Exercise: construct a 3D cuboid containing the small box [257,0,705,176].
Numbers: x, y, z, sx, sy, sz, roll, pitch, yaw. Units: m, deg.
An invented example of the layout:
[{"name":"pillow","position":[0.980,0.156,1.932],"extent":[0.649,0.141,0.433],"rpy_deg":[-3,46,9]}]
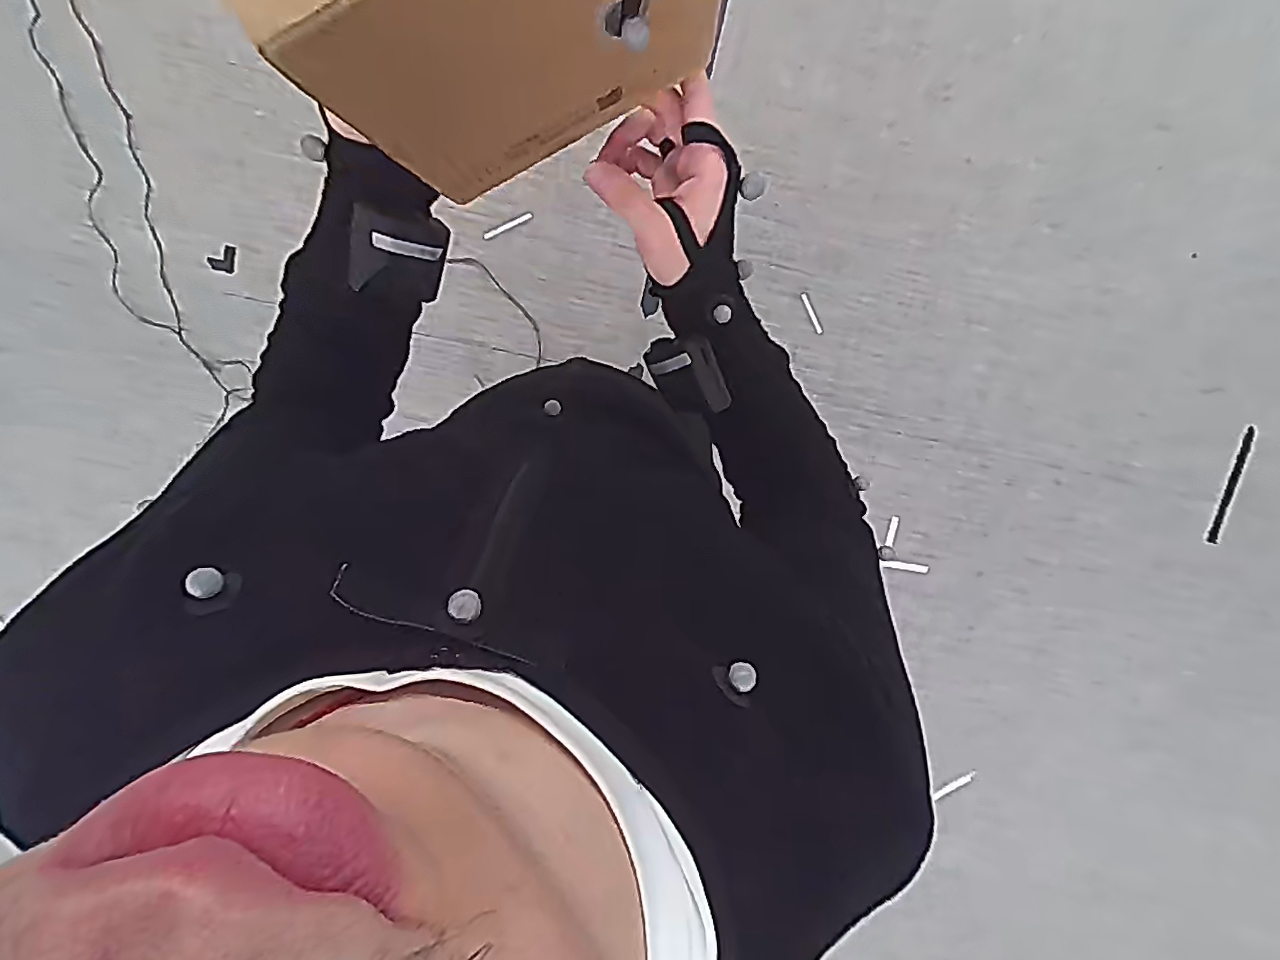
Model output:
[{"name":"small box","position":[-0.074,-0.259,0.226],"extent":[0.168,0.176,0.179],"rpy_deg":[-26,100,6]}]
